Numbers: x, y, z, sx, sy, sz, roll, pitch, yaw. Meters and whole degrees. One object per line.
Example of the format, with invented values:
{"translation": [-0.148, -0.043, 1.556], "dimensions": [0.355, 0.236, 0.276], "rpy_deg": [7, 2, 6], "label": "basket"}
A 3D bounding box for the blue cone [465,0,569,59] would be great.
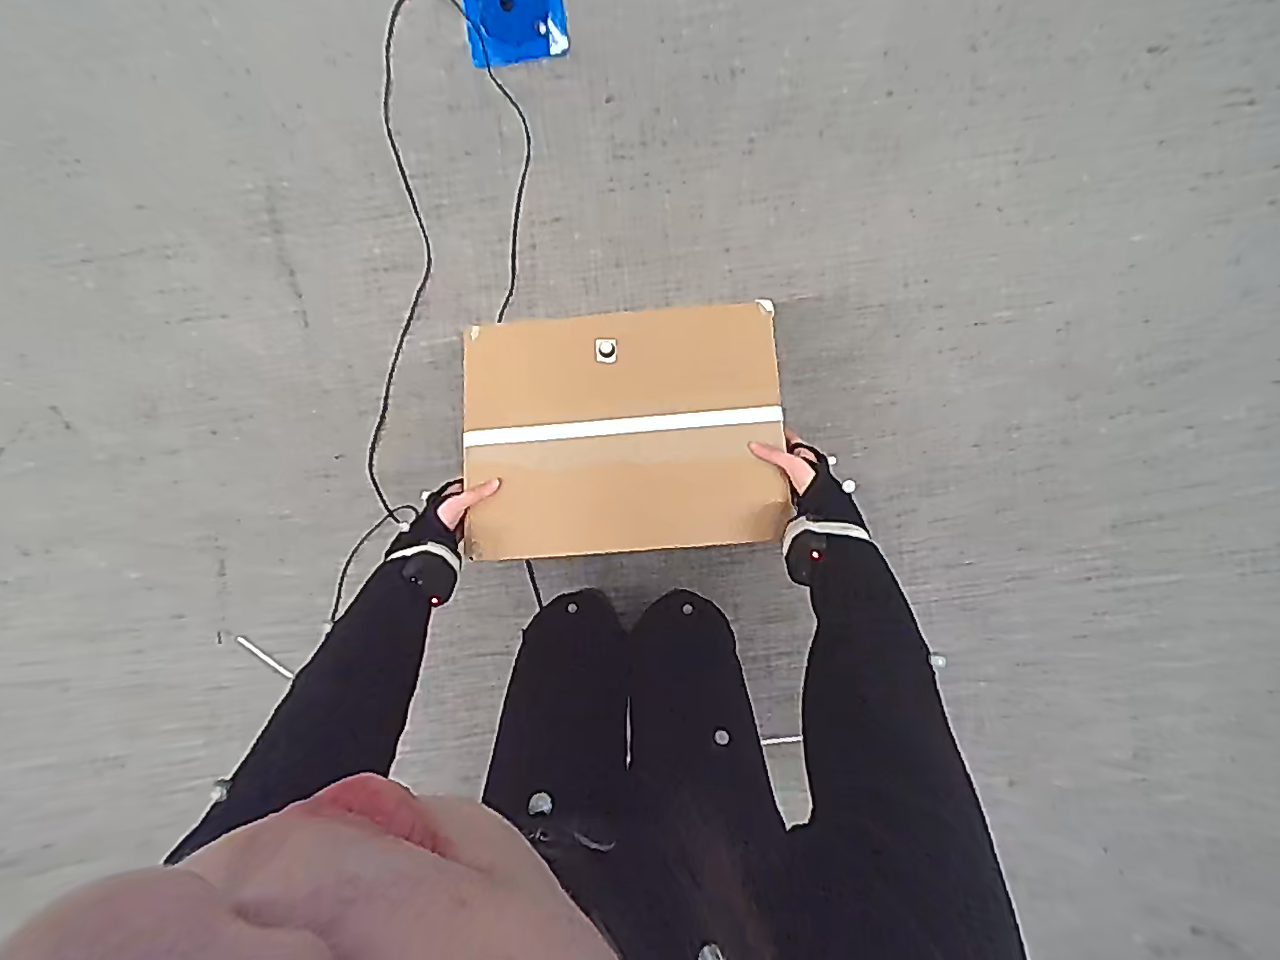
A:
{"translation": [-0.246, -0.934, 0.900], "dimensions": [0.193, 0.380, 0.192], "rpy_deg": [-10, 92, 0], "label": "blue cone"}
